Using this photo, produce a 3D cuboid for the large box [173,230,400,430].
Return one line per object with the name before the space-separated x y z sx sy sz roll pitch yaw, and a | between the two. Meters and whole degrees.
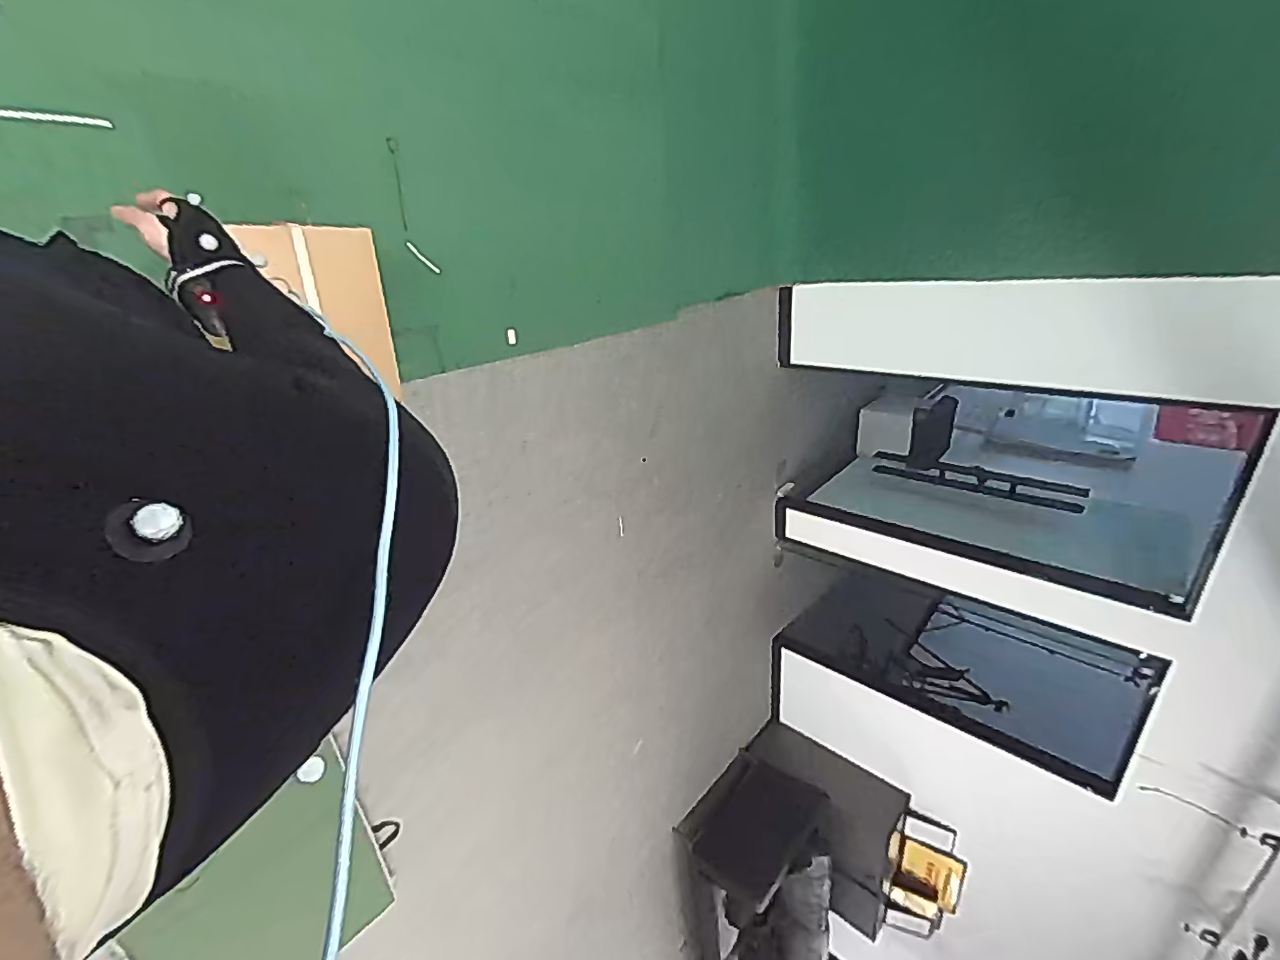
large box | -0.832 -0.371 1.294 0.320 0.320 0.408 -23 120 -42
